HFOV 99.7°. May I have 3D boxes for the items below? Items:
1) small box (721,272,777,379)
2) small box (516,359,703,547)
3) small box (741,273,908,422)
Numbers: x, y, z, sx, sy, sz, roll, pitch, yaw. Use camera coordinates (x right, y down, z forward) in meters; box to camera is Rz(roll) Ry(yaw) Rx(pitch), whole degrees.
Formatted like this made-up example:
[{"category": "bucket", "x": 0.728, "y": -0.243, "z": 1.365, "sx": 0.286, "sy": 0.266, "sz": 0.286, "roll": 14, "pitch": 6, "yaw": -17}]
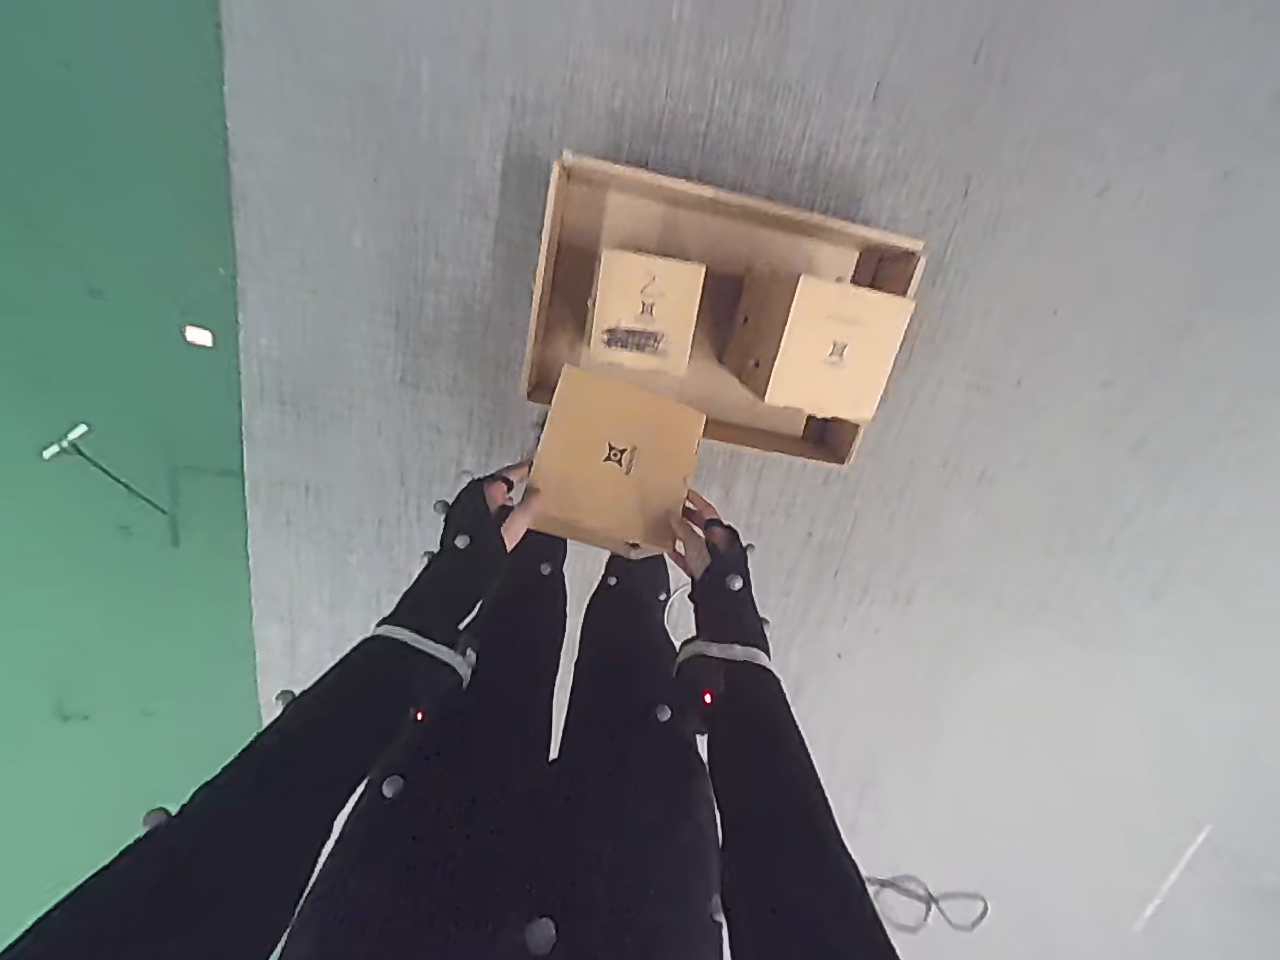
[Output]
[{"category": "small box", "x": 0.254, "y": -0.266, "z": 0.975, "sx": 0.168, "sy": 0.176, "sz": 0.179, "roll": 12, "pitch": 110, "yaw": -5}, {"category": "small box", "x": -0.047, "y": -0.018, "z": 0.669, "sx": 0.179, "sy": 0.176, "sz": 0.168, "roll": 18, "pitch": 75, "yaw": -12}, {"category": "small box", "x": 0.263, "y": -0.206, "z": 0.824, "sx": 0.168, "sy": 0.176, "sz": 0.179, "roll": 11, "pitch": 109, "yaw": -7}]
